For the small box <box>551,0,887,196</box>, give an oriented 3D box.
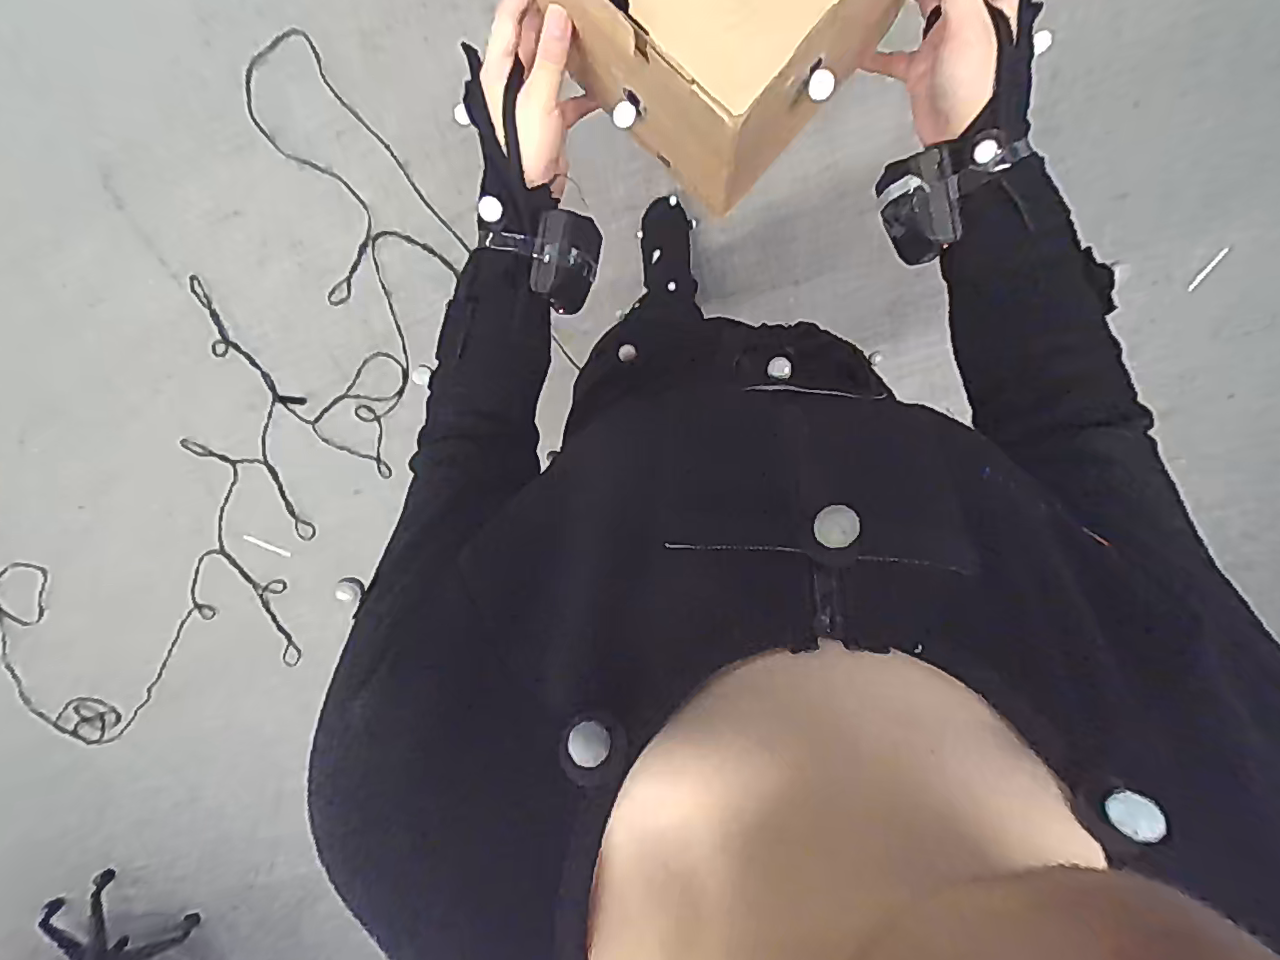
[{"bbox_3d":[0.053,-0.315,0.330,0.168,0.176,0.179,43,103,-3],"label":"small box"}]
